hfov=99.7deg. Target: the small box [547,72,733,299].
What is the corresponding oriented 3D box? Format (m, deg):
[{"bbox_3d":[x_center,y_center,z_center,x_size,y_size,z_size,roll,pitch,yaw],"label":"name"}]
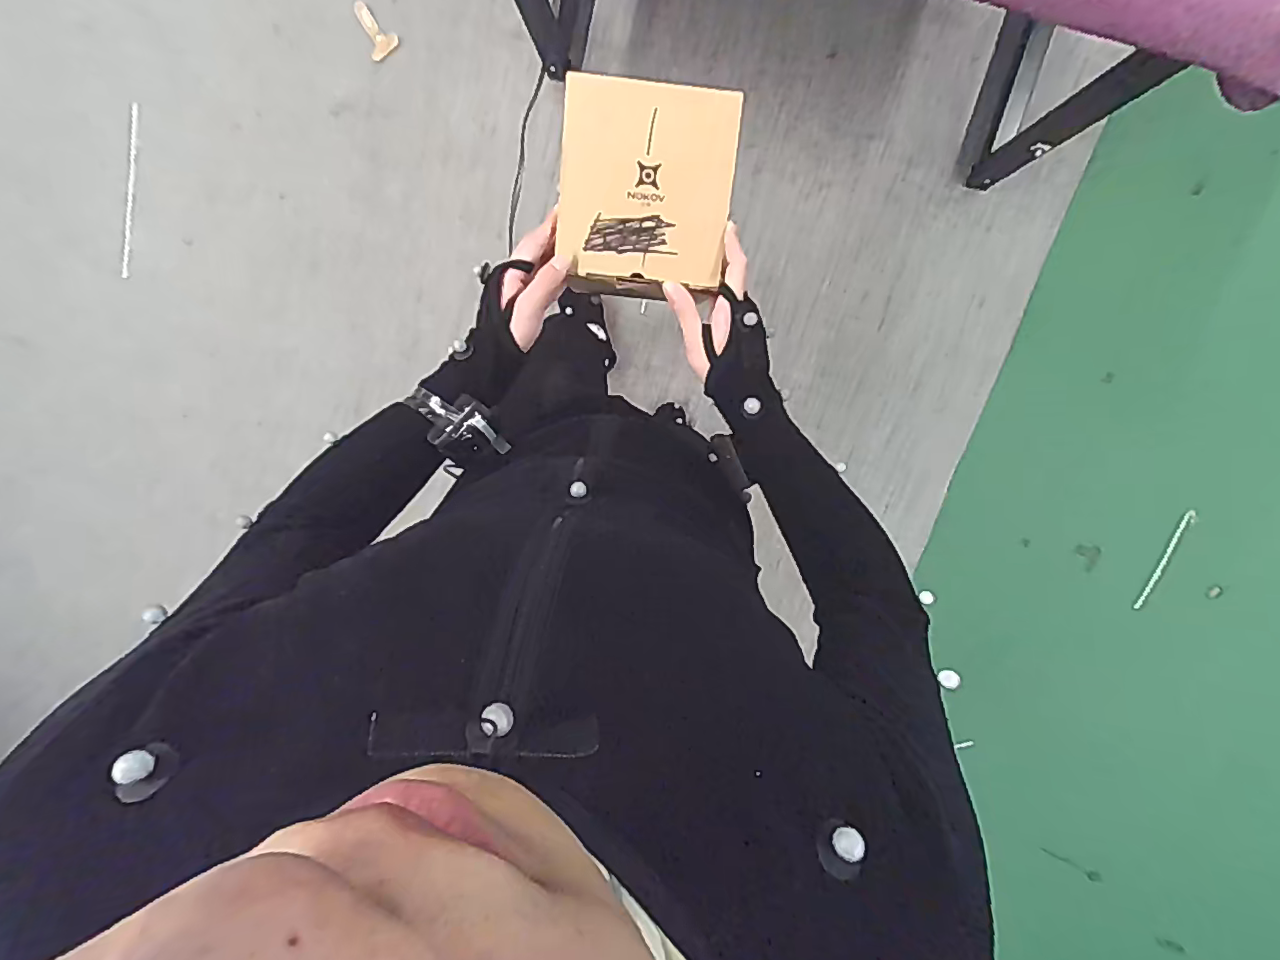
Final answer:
[{"bbox_3d":[-0.002,-0.303,0.596,0.168,0.176,0.179,6,103,-1],"label":"small box"}]
